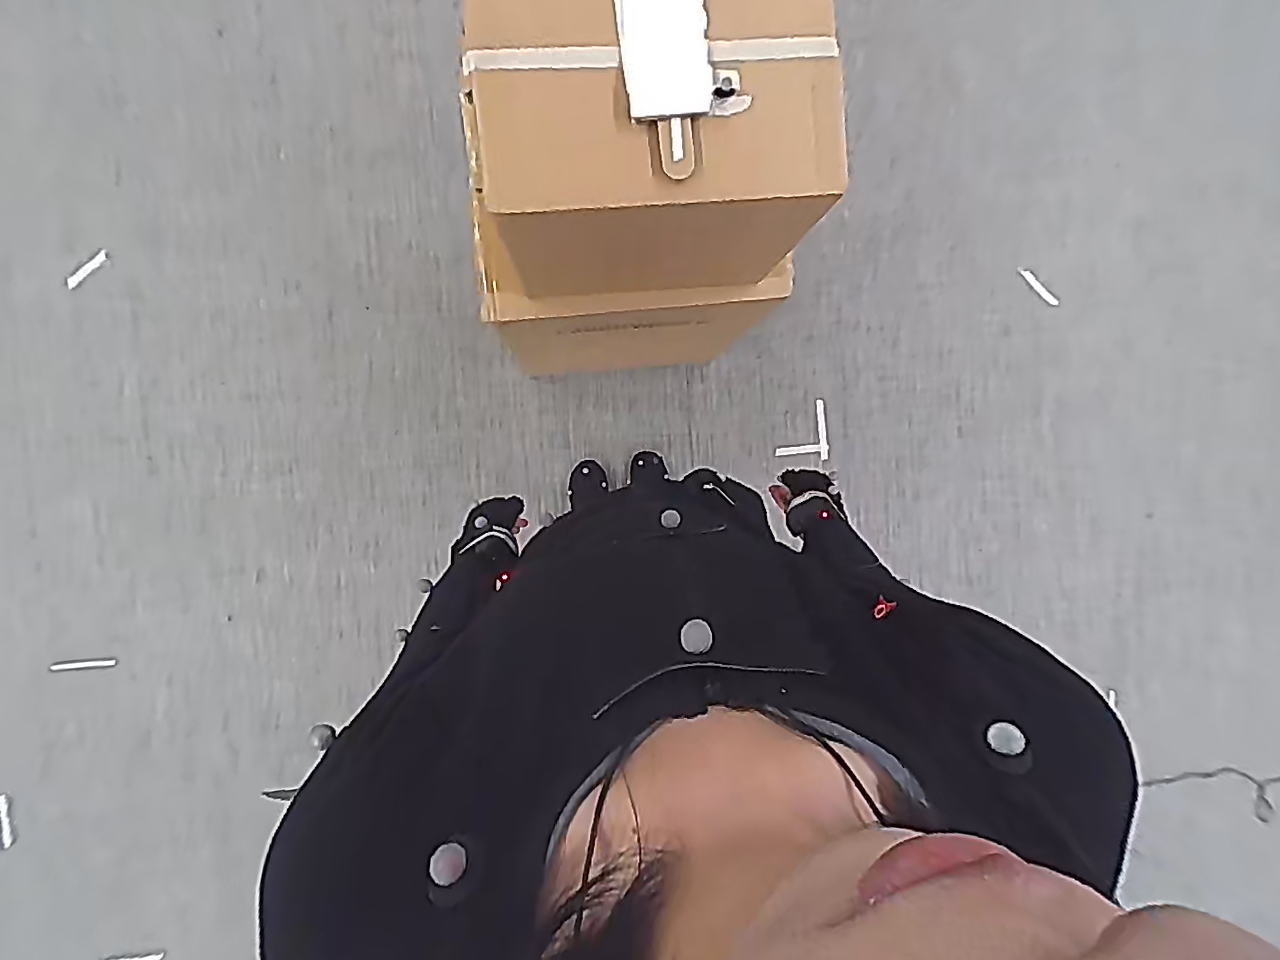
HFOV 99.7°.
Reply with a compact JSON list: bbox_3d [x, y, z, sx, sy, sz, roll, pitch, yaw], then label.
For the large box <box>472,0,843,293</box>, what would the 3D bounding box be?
[{"bbox_3d":[0.008,-0.474,0.751,0.408,0.320,0.320,-6,93,-6],"label":"large box"}]
